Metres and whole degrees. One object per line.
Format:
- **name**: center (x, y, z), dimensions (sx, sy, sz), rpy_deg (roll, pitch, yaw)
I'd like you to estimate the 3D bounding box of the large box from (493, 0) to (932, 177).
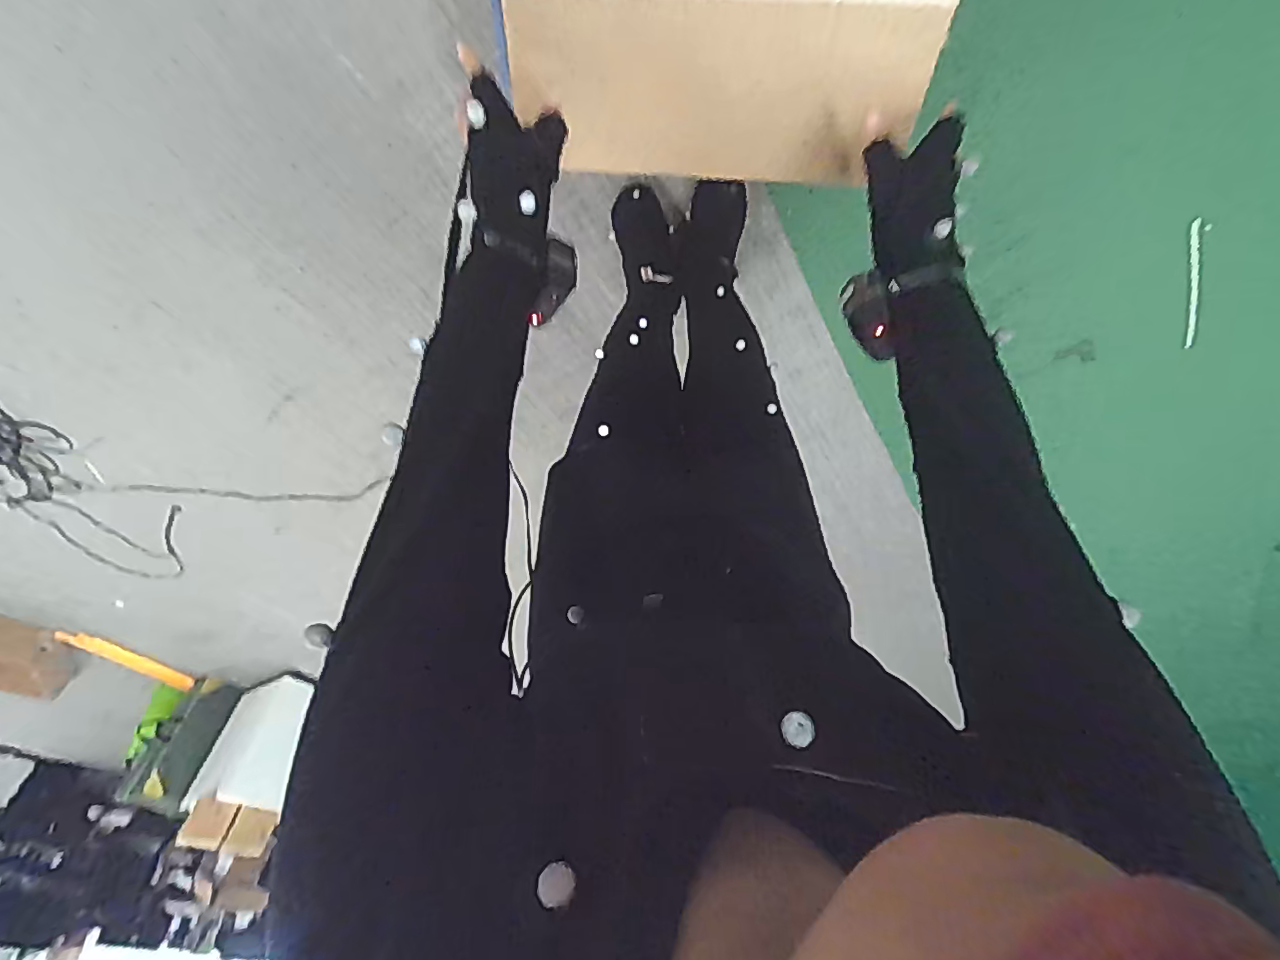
- **large box**: center (0.076, -0.552, 0.576), dimensions (0.408, 0.320, 0.320), rpy_deg (5, 136, 2)
